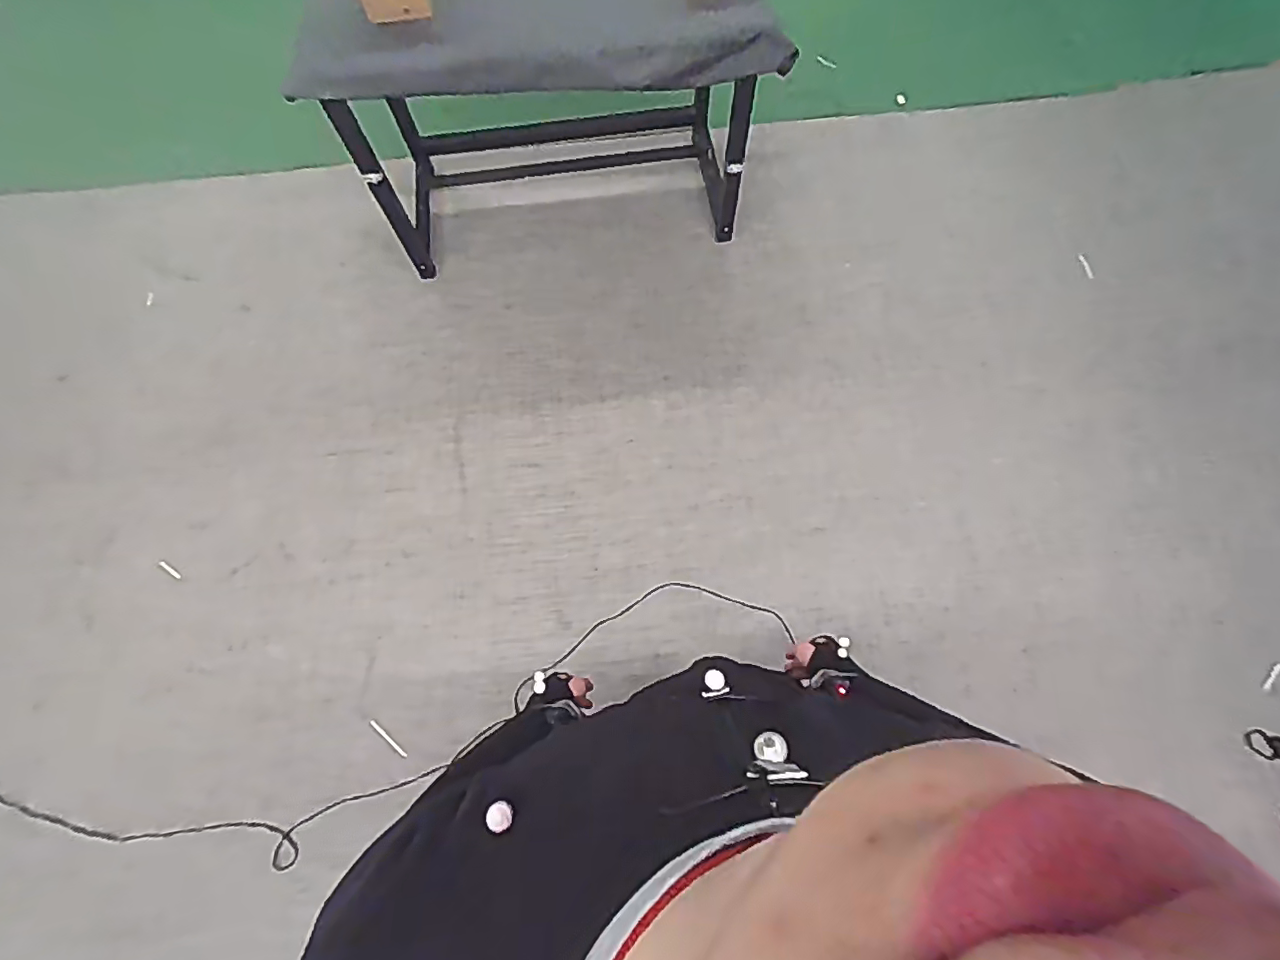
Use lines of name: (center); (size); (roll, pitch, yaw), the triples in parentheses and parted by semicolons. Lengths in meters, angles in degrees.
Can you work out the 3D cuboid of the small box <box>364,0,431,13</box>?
small box: (-0.636, -1.321, 1.361); (0.168, 0.176, 0.179); (-8, 70, -3)
